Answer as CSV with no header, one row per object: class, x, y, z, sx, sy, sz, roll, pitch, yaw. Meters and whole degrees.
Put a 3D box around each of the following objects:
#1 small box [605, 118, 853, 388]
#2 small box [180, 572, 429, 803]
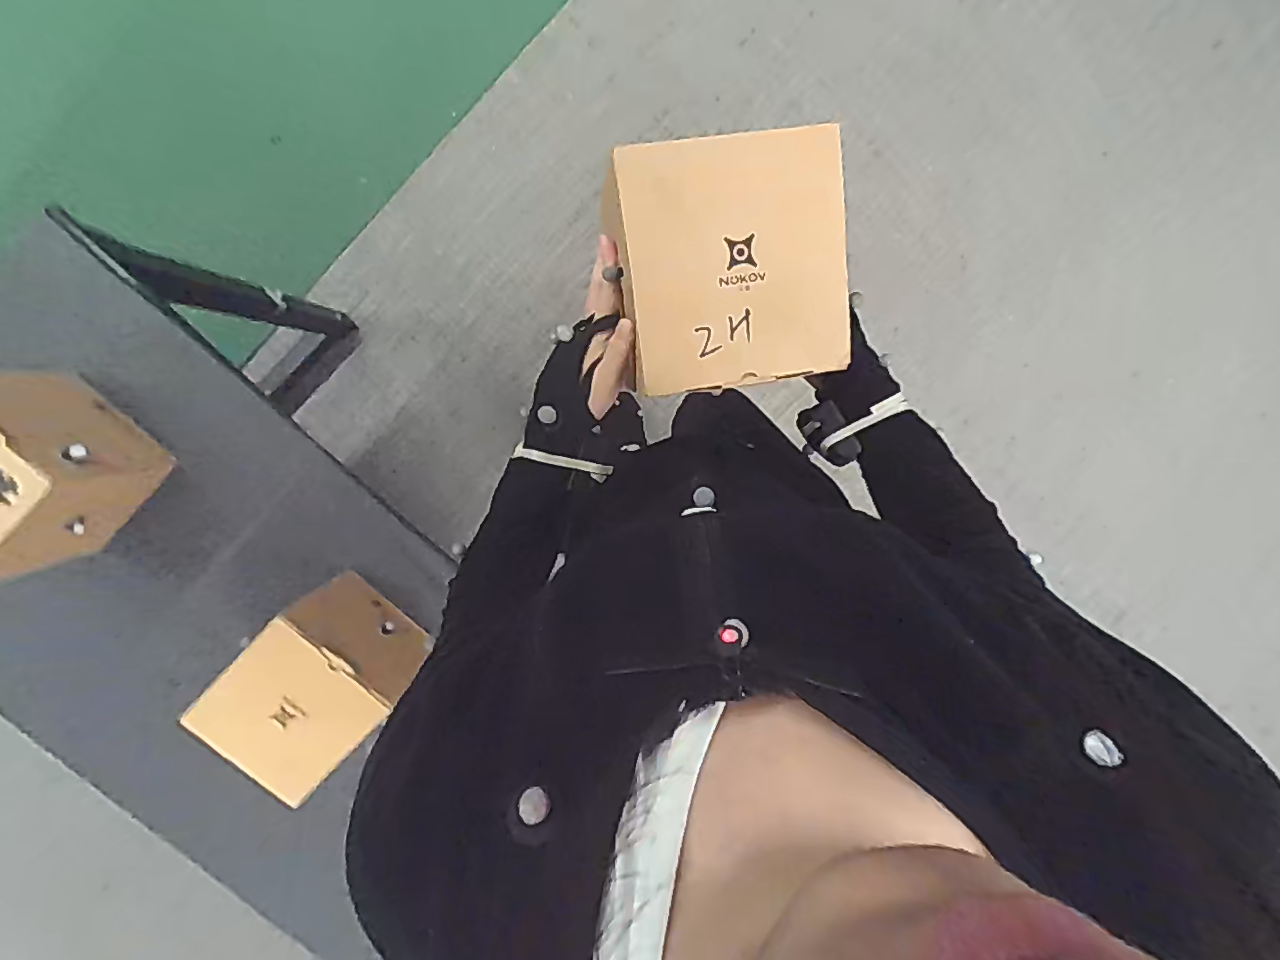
small box,0.065,-0.178,0.471,0.168,0.176,0.179,-9,103,-5
small box,-0.404,0.250,0.689,0.168,0.176,0.179,43,94,-8
